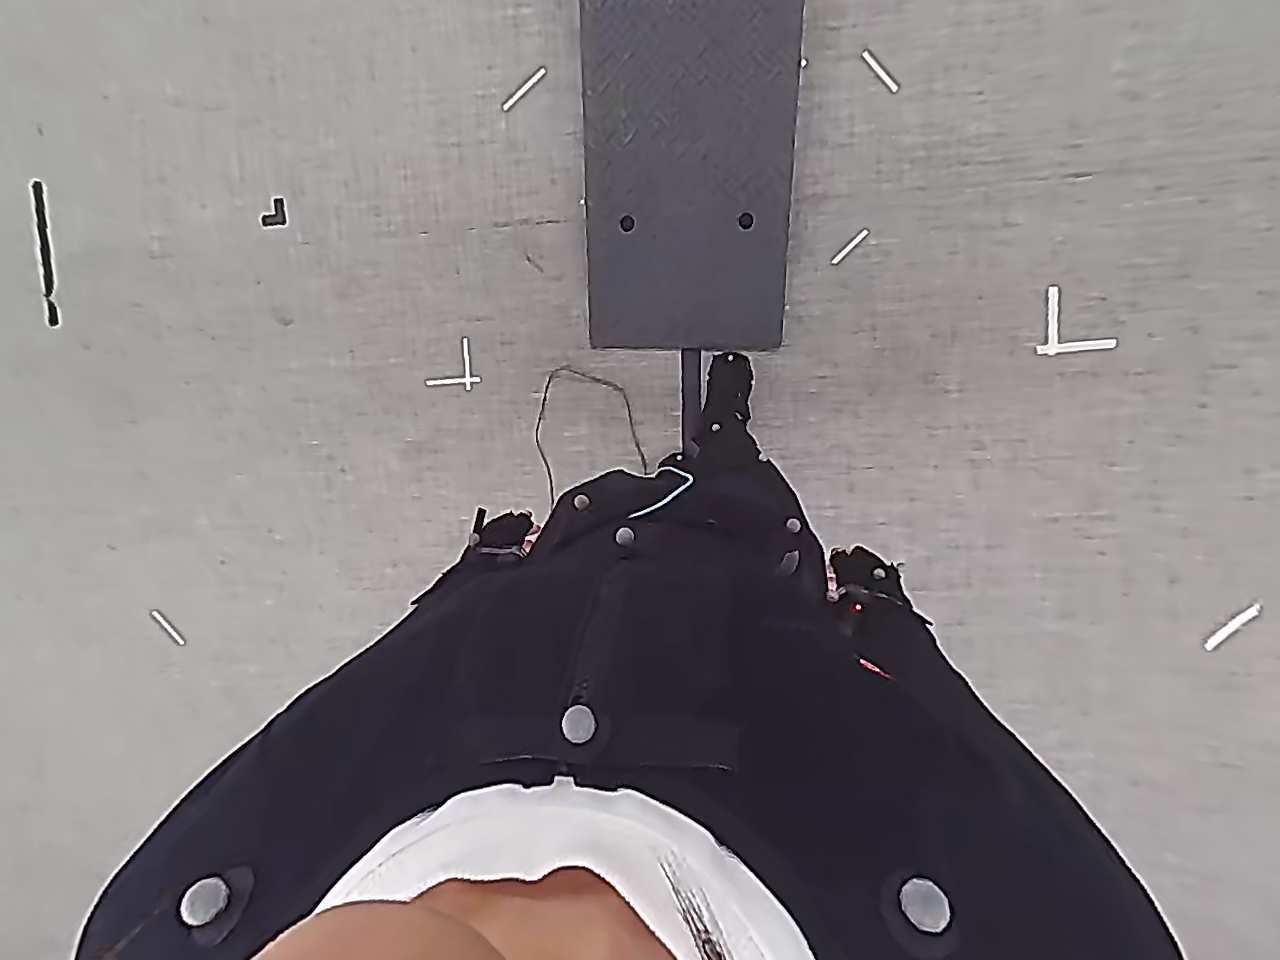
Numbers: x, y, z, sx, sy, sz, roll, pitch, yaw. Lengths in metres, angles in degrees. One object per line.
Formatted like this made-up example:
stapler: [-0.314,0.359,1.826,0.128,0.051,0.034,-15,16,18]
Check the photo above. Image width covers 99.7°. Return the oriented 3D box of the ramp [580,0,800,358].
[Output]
ramp: [0.118,-0.804,1.269,0.509,0.206,0.991,-2,96,6]
